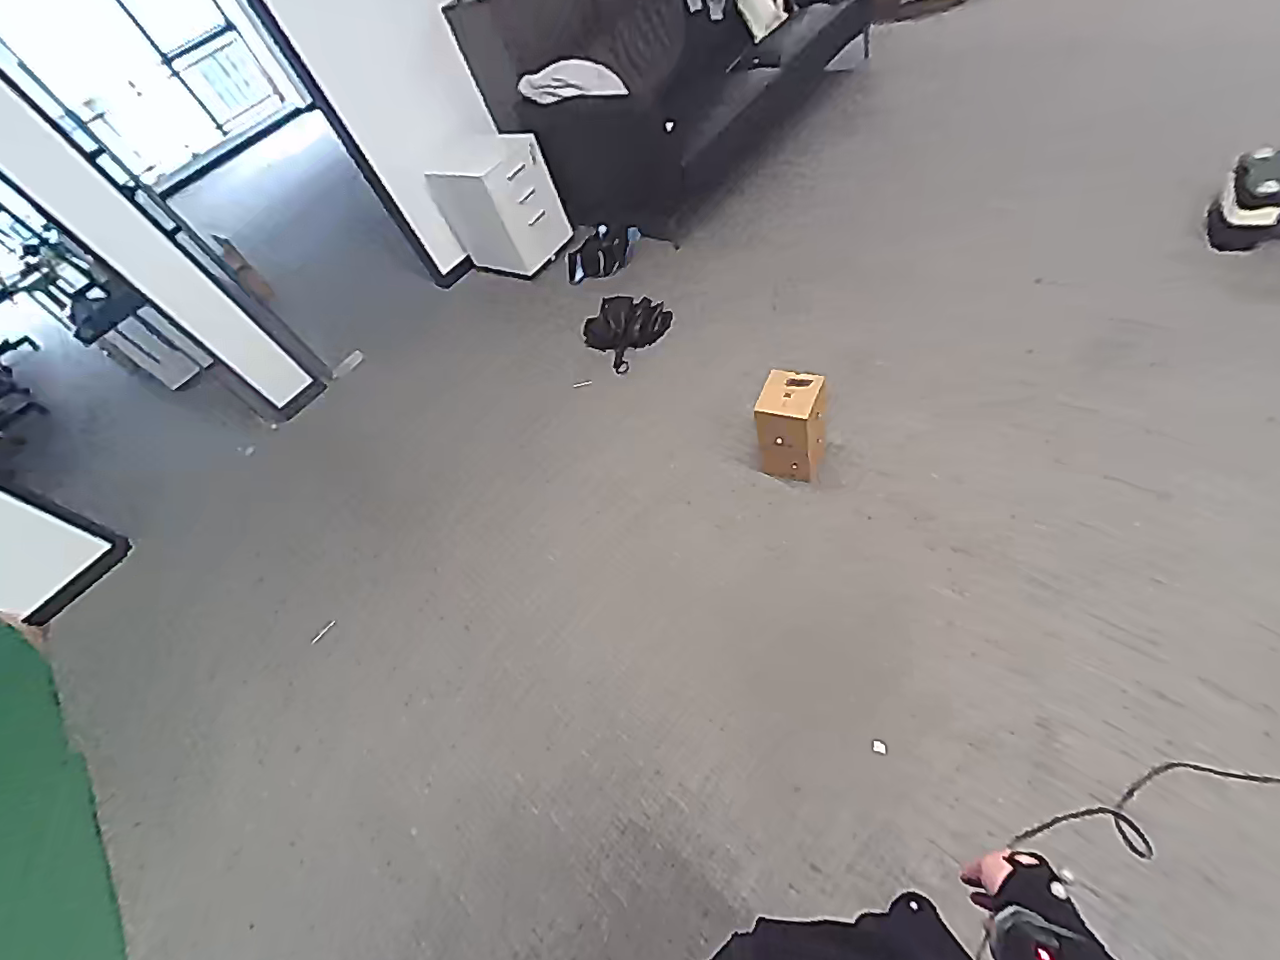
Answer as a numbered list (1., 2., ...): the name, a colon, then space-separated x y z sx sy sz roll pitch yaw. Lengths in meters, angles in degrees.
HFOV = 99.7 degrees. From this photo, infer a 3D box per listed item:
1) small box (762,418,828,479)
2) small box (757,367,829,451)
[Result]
1. small box: 0.518 -0.126 1.788 0.168 0.176 0.179 14 59 28
2. small box: 0.474 -0.216 1.658 0.168 0.176 0.179 15 62 29
